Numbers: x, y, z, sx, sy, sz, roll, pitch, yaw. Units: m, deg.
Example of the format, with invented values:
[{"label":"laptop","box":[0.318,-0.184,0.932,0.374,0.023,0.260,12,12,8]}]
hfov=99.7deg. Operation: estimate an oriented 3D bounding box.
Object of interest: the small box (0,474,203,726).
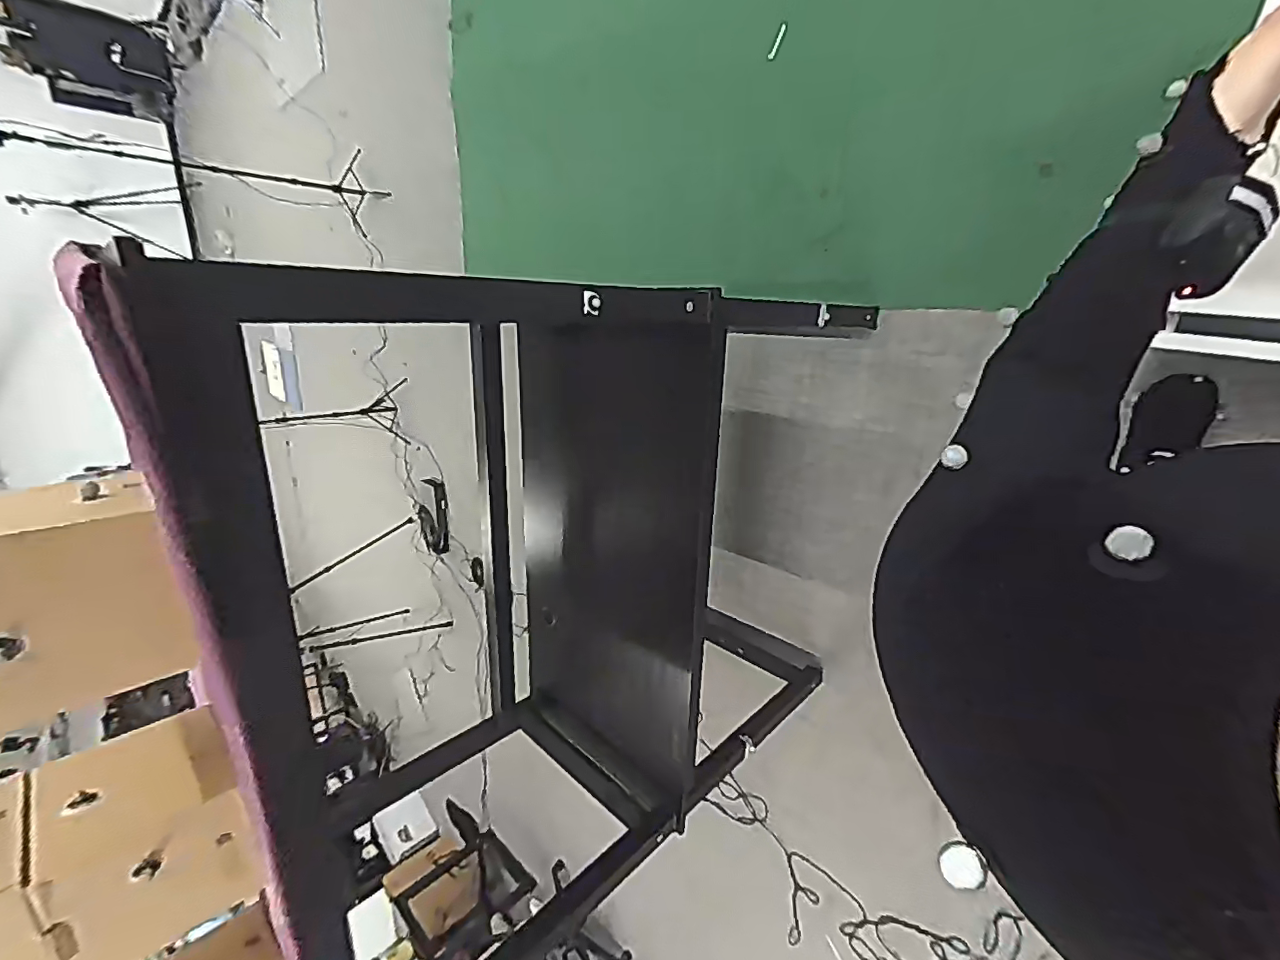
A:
[{"label":"small box","box":[-0.557,0.106,0.532,0.168,0.176,0.179,18,113,44]}]

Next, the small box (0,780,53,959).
[{"label":"small box","box":[-0.672,0.436,0.506,0.168,0.176,0.179,20,113,40]}]

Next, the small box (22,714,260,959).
[{"label":"small box","box":[-0.556,0.406,0.619,0.179,0.176,0.168,20,113,42]}]
